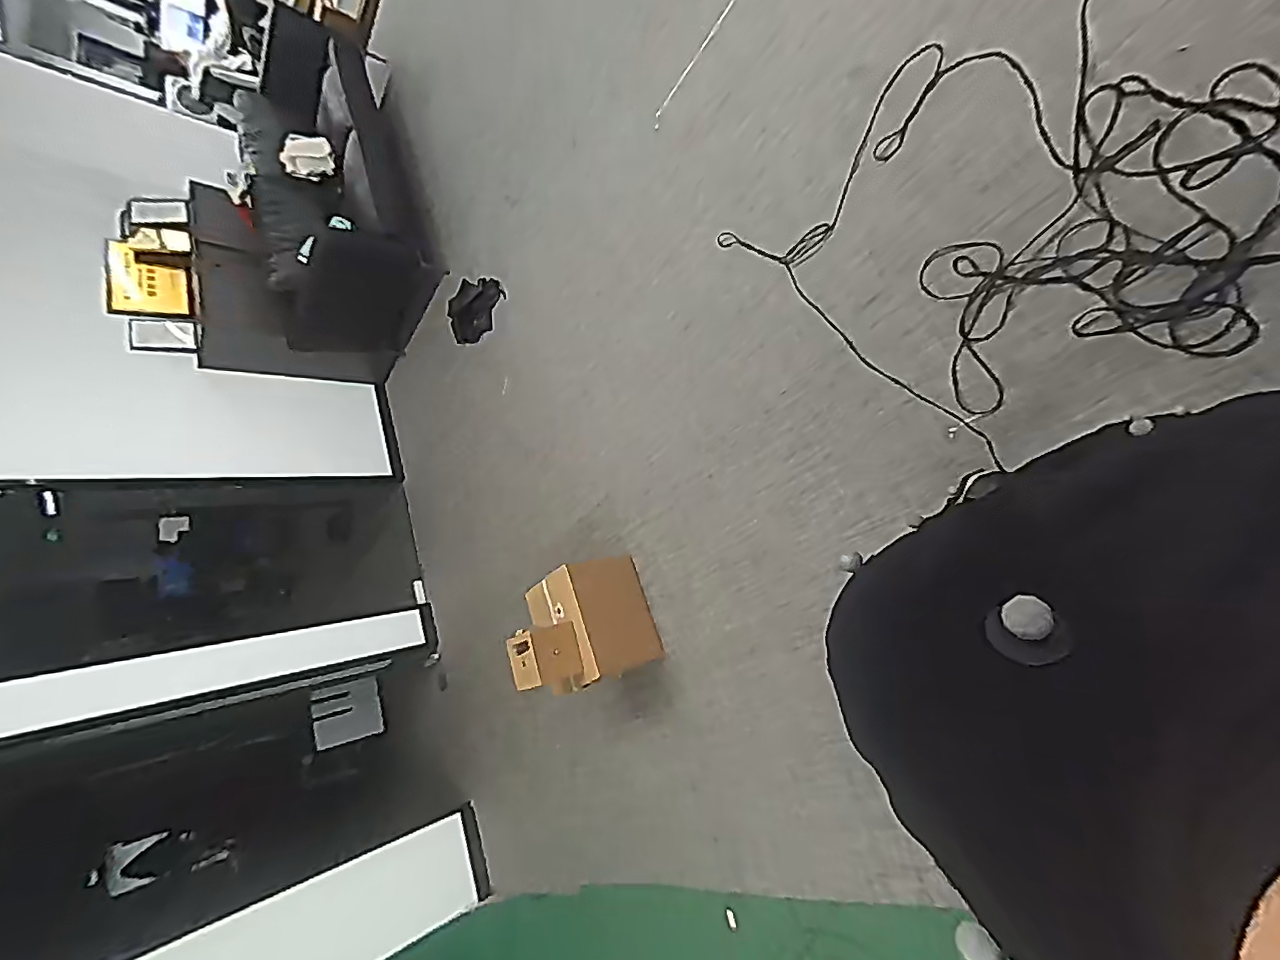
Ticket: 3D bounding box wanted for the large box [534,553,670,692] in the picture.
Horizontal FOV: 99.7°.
[{"bbox_3d":[-0.148,0.526,2.030,0.320,0.320,0.408,-39,62,40],"label":"large box"}]
